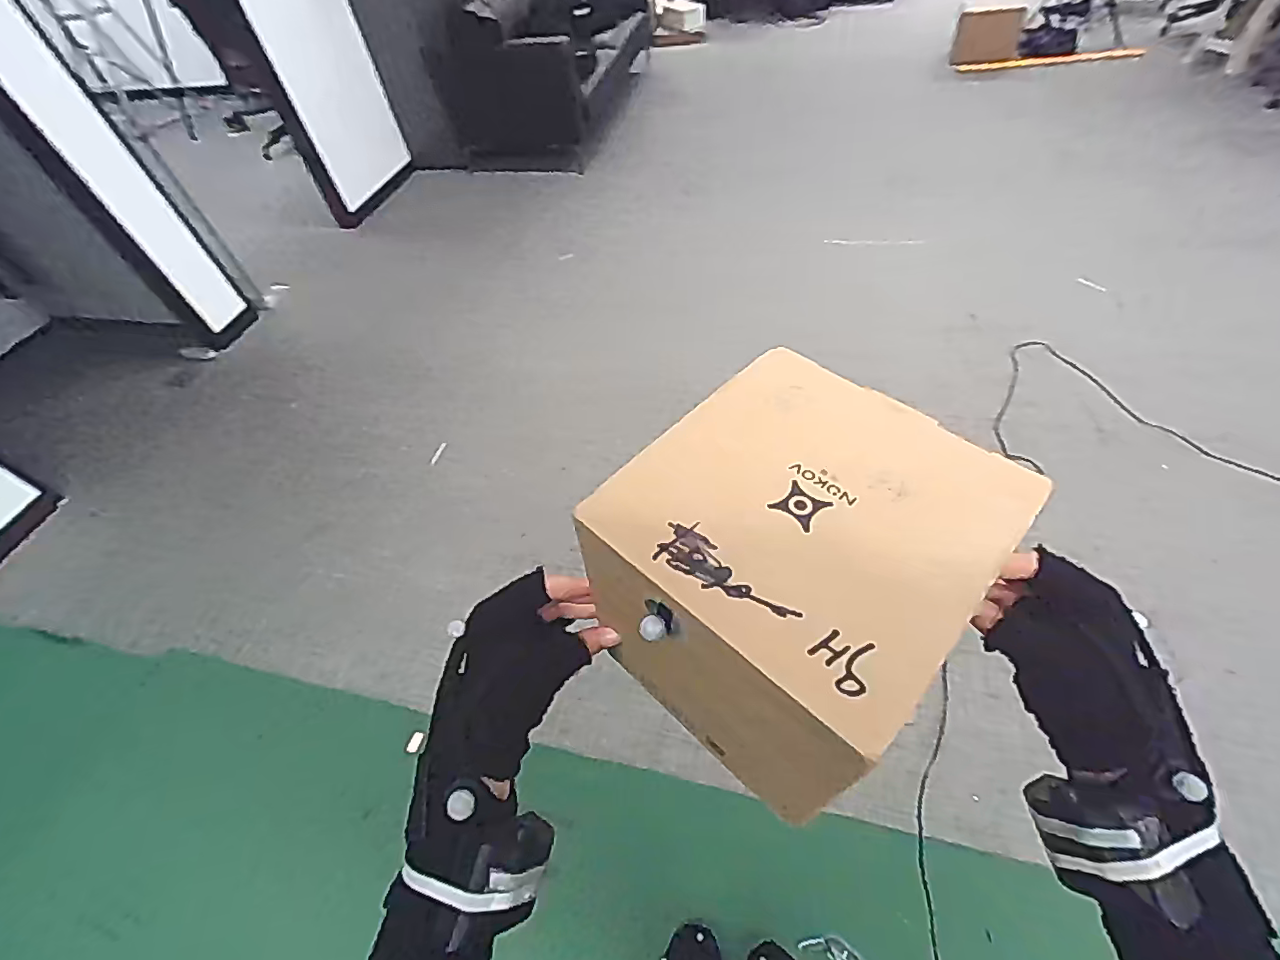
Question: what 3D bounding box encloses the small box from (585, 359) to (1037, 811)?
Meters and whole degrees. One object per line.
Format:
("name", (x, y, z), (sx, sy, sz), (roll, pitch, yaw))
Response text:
("small box", (0.089, 0.062, 0.336), (0.168, 0.176, 0.179), (36, 60, 29))
